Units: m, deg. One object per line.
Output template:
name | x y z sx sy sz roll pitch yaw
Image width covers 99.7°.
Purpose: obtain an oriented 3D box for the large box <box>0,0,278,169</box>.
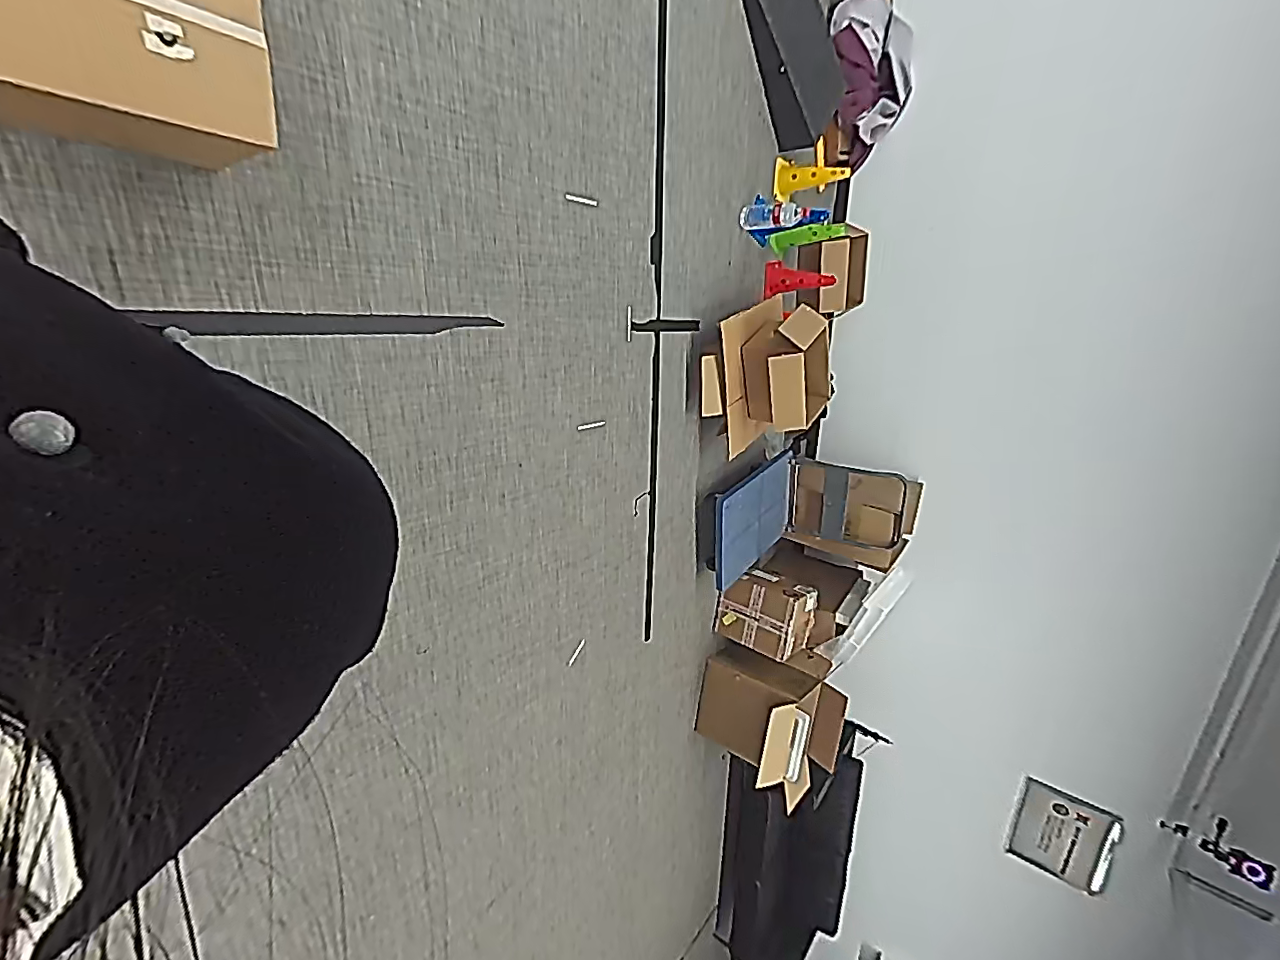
large box | -0.865 -0.717 0.835 0.408 0.320 0.320 -17 116 -51
